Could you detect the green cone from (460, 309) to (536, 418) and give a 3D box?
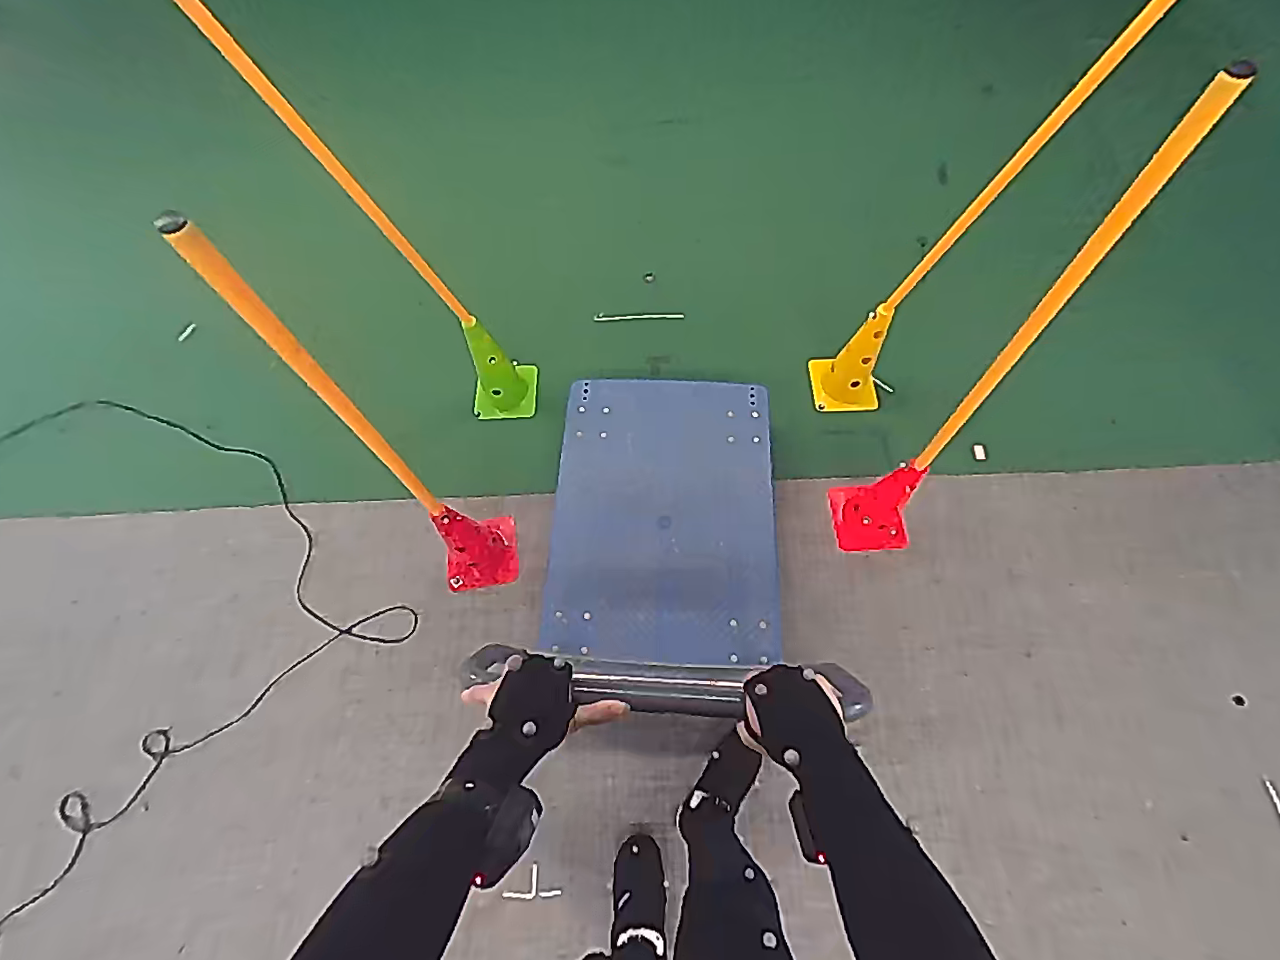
[{"bbox_3d":[-0.450,-0.363,1.605,0.200,0.368,0.202,-3,65,2],"label":"green cone"}]

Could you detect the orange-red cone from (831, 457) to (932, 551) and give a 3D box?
[{"bbox_3d":[0.652,0.035,1.392,0.198,0.360,0.199,-2,64,0],"label":"orange-red cone"}]
